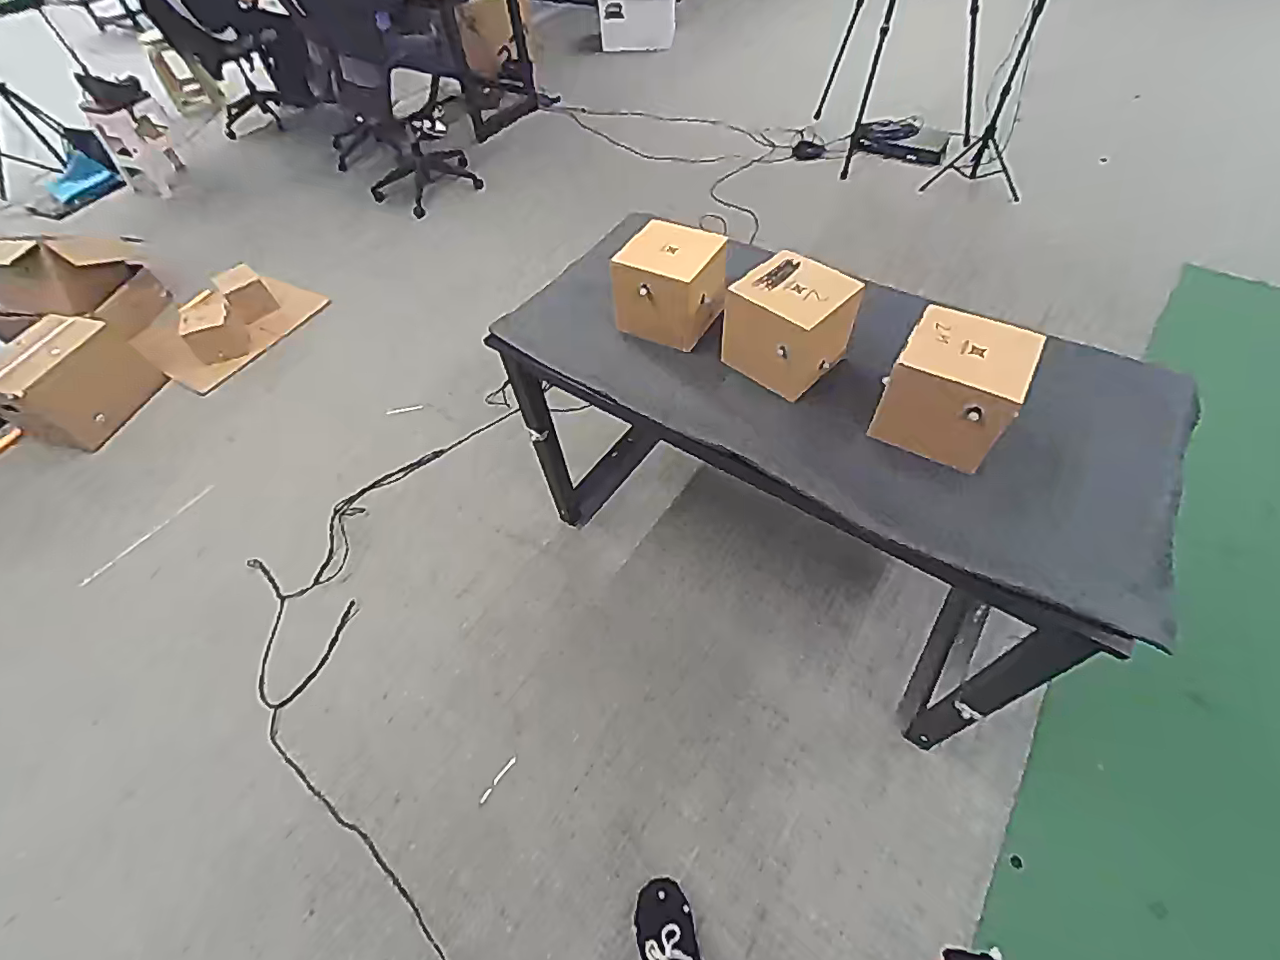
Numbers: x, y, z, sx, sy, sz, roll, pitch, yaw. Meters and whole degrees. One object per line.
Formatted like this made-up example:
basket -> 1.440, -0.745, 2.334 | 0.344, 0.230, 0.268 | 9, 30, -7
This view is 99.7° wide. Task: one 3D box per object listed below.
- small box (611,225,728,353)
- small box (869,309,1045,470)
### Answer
small box -> 0.063, -0.386, 1.105 | 0.179, 0.176, 0.168 | 24, 59, 21
small box -> 0.503, -0.140, 0.877 | 0.179, 0.176, 0.168 | 26, 59, 23
